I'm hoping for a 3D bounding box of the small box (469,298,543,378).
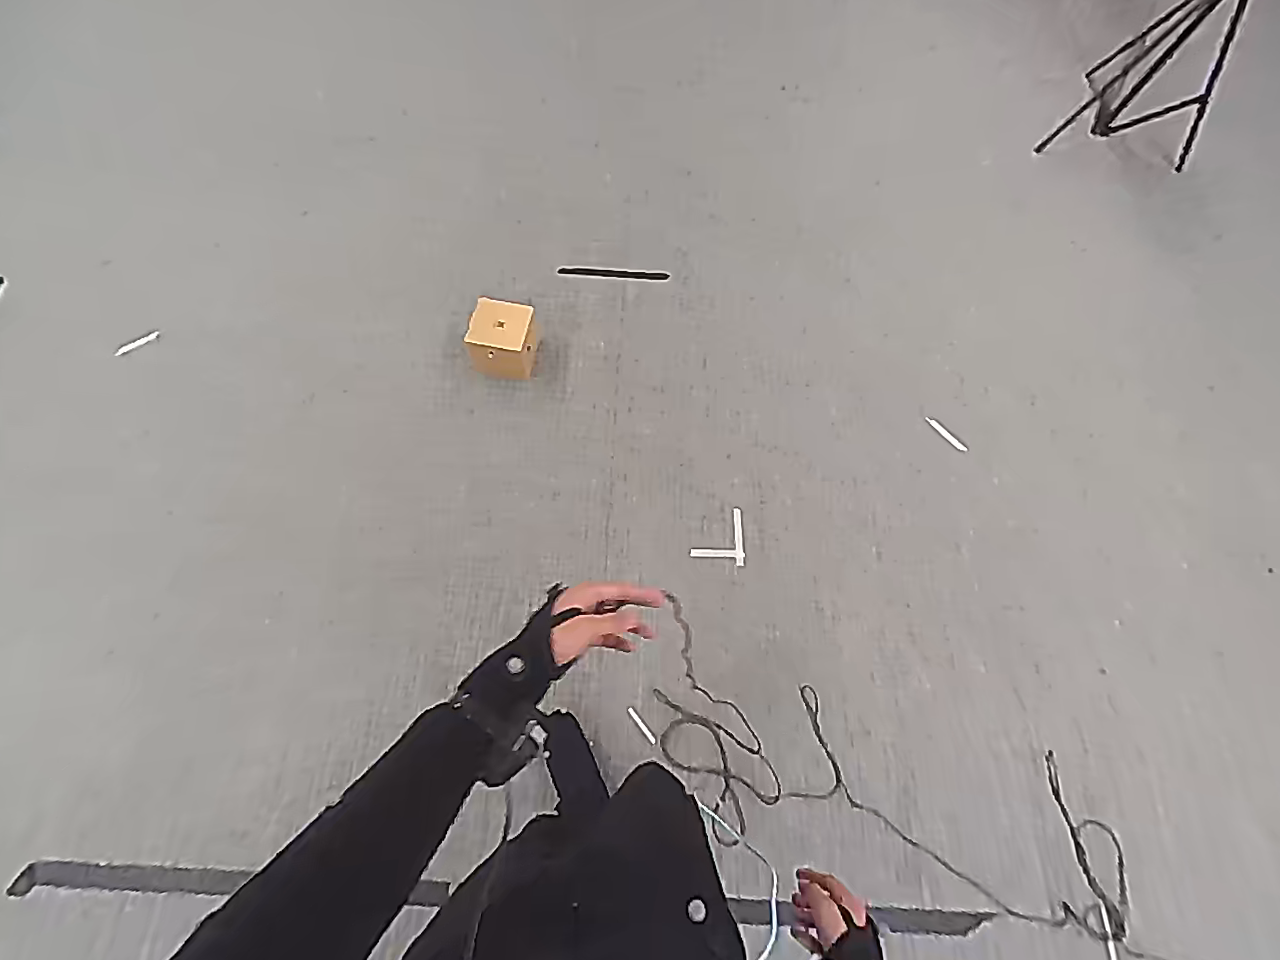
[{"bbox_3d":[-0.412,-0.442,1.704,0.179,0.176,0.168,11,70,2],"label":"small box"}]
